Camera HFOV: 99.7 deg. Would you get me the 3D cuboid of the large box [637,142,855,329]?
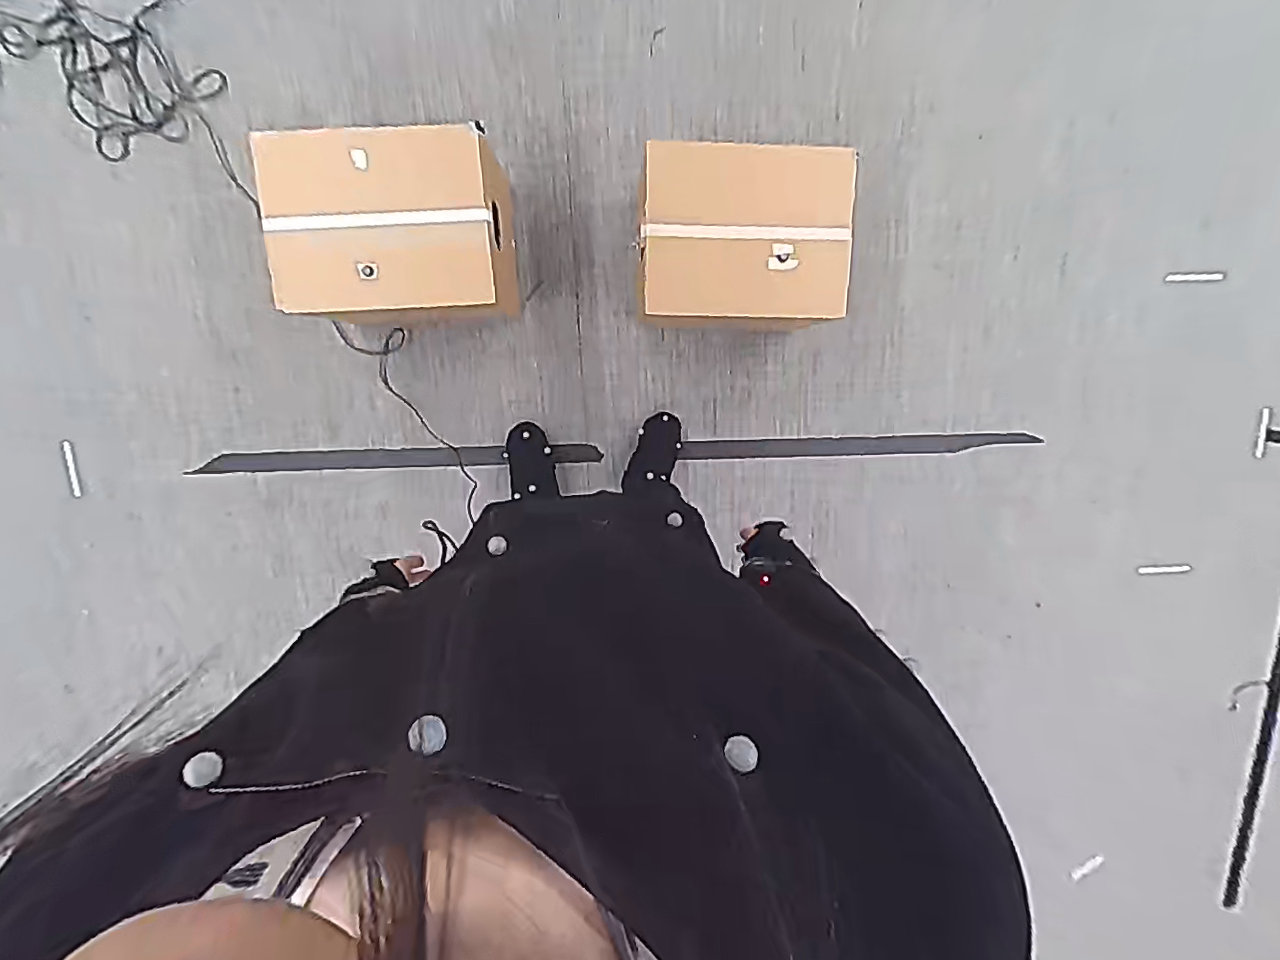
[{"bbox_3d":[0.202,-0.507,1.195,0.408,0.320,0.320,0,101,-4],"label":"large box"}]
